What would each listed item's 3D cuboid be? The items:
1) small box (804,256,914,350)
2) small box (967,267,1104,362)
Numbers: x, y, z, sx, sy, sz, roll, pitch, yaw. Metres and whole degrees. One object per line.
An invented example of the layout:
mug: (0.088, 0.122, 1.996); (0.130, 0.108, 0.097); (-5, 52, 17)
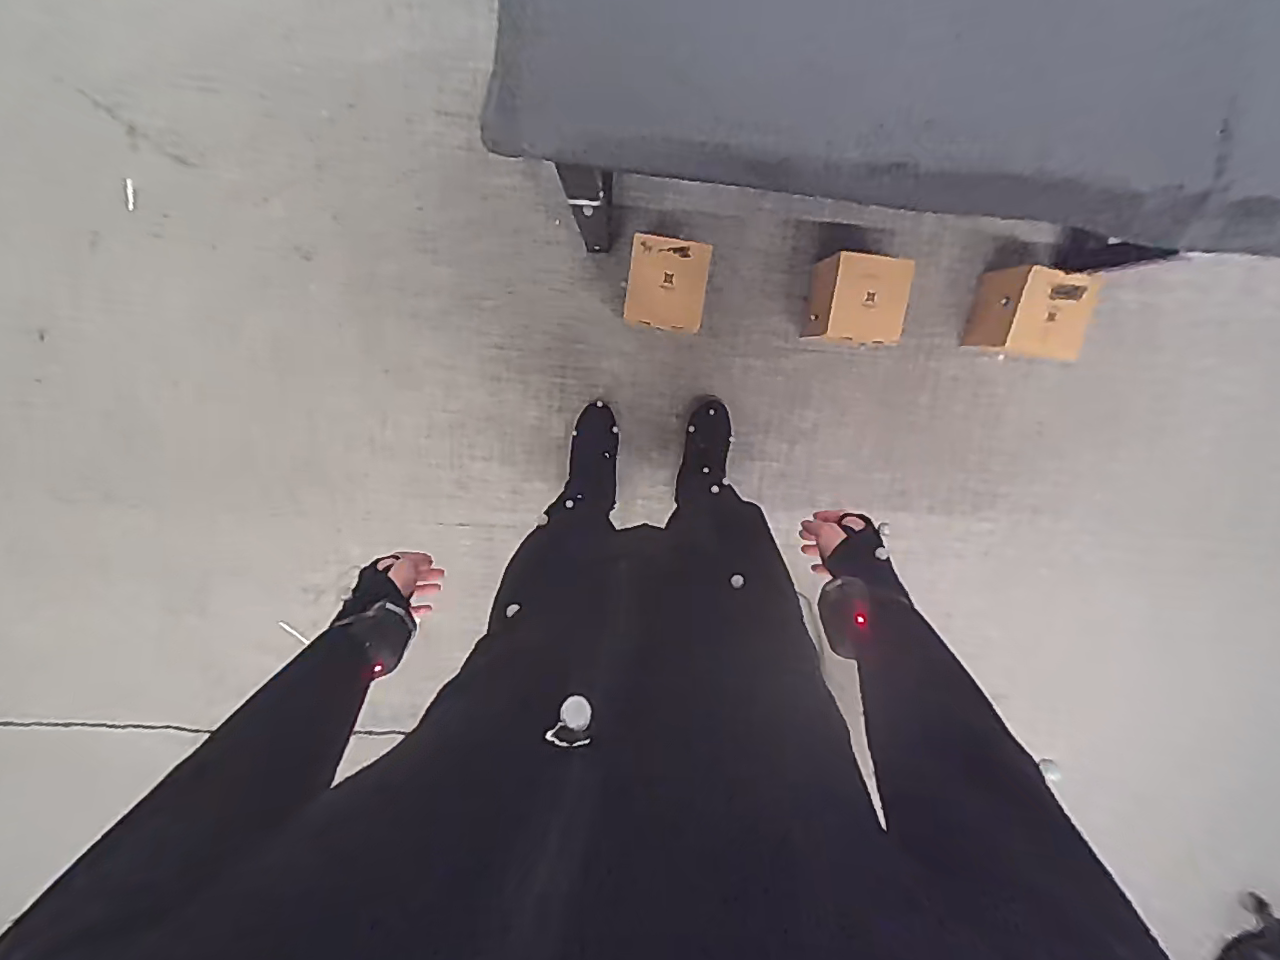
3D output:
small box: (0.486, -0.392, 1.228); (0.168, 0.176, 0.179); (5, 100, -3)
small box: (0.888, -0.371, 1.234); (0.168, 0.176, 0.179); (8, 103, -3)
